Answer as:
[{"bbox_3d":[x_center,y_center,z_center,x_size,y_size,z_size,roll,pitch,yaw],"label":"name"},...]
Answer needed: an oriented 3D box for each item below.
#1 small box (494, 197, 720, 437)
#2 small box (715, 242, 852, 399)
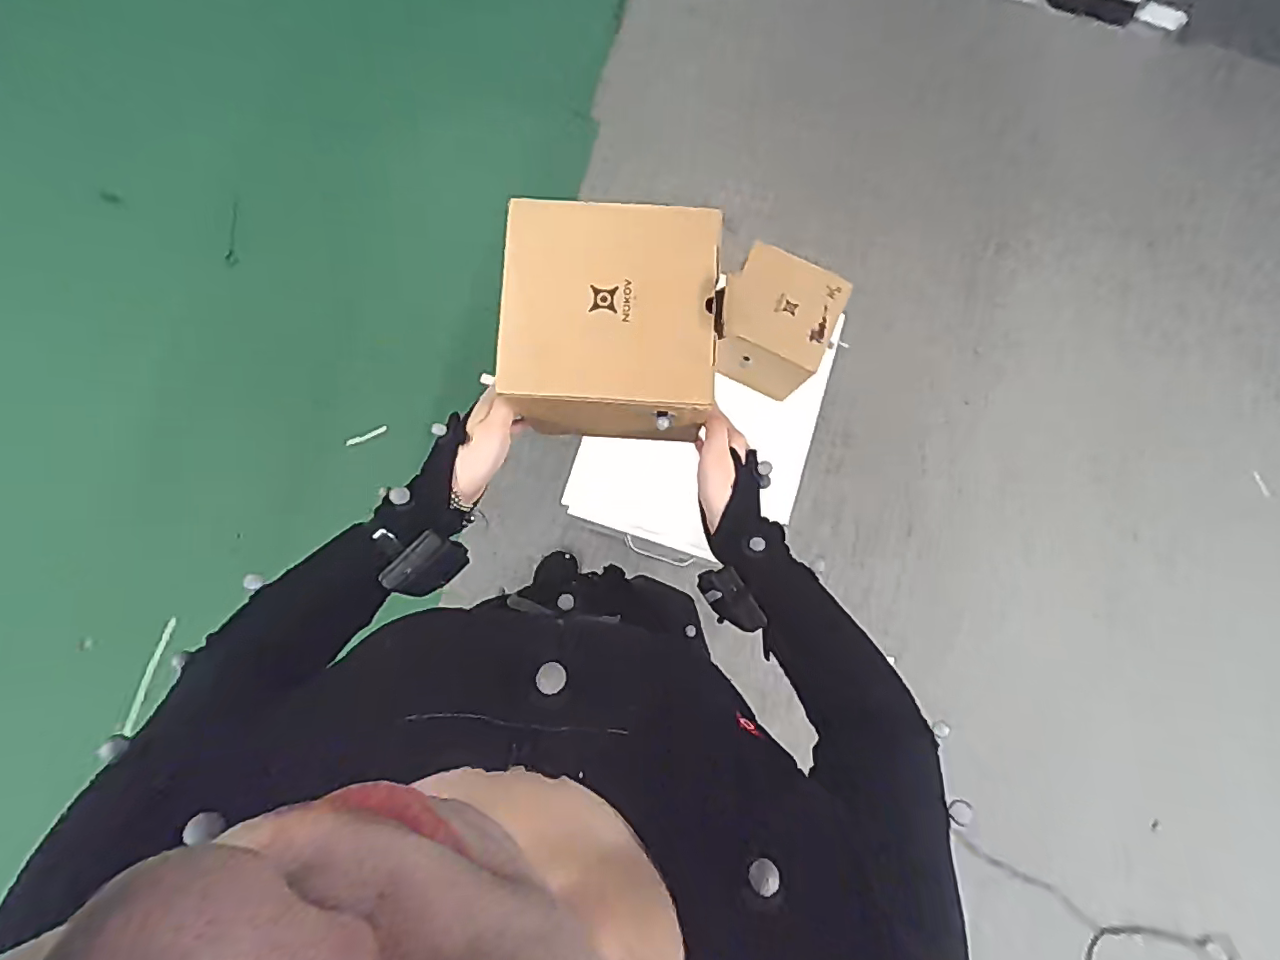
[{"bbox_3d":[-0.025,-0.137,0.512,0.179,0.176,0.168,2,84,-1],"label":"small box"},{"bbox_3d":[0.221,-0.259,0.922,0.179,0.176,0.168,25,81,1],"label":"small box"}]
